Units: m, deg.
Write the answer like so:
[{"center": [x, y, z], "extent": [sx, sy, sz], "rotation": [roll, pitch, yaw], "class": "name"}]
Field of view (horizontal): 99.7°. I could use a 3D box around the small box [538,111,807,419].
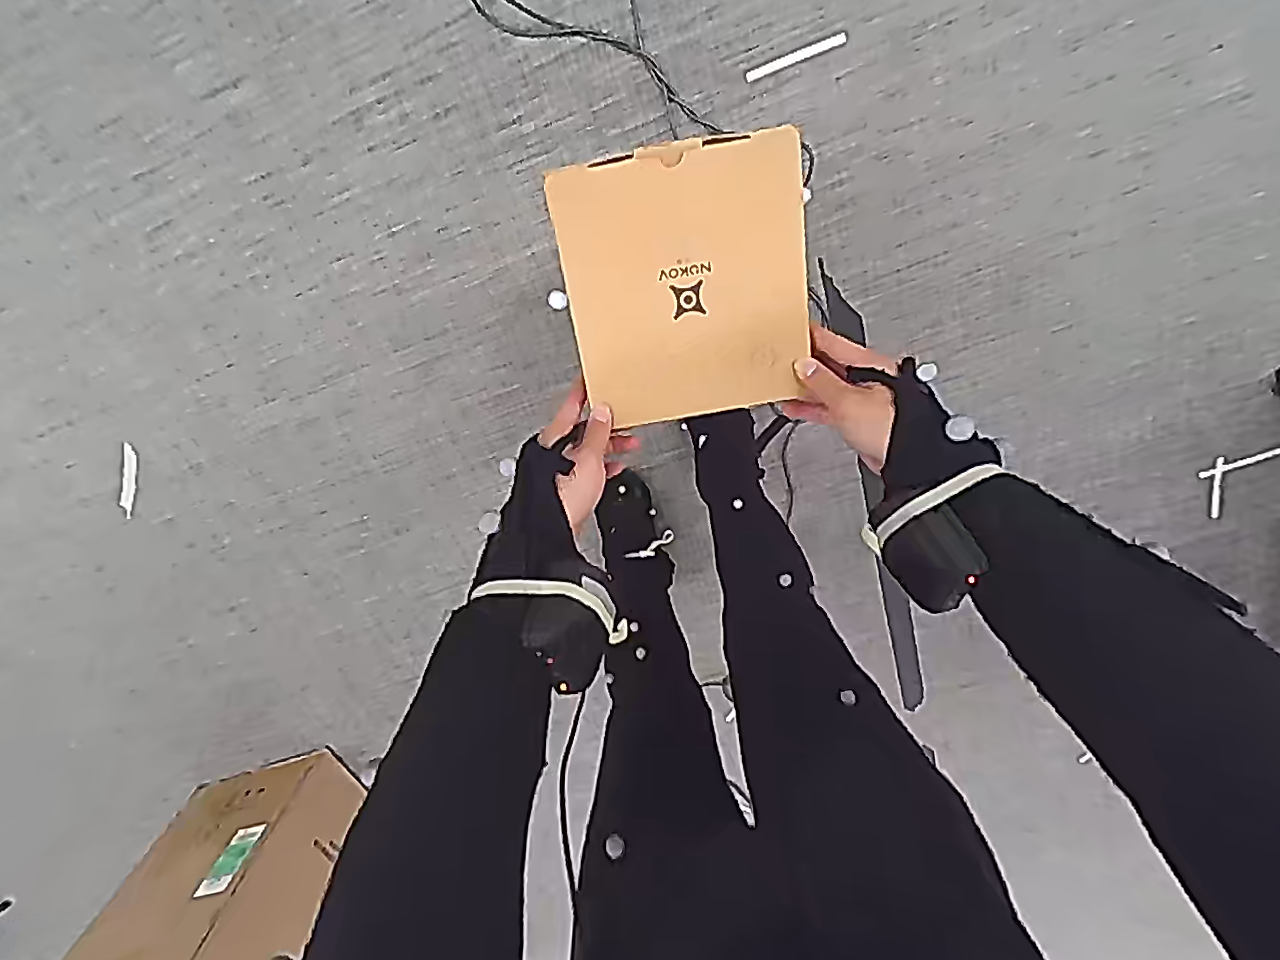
[{"center": [0.028, -0.165, 0.441], "extent": [0.168, 0.176, 0.179], "rotation": [-10, 111, 2], "class": "small box"}]
